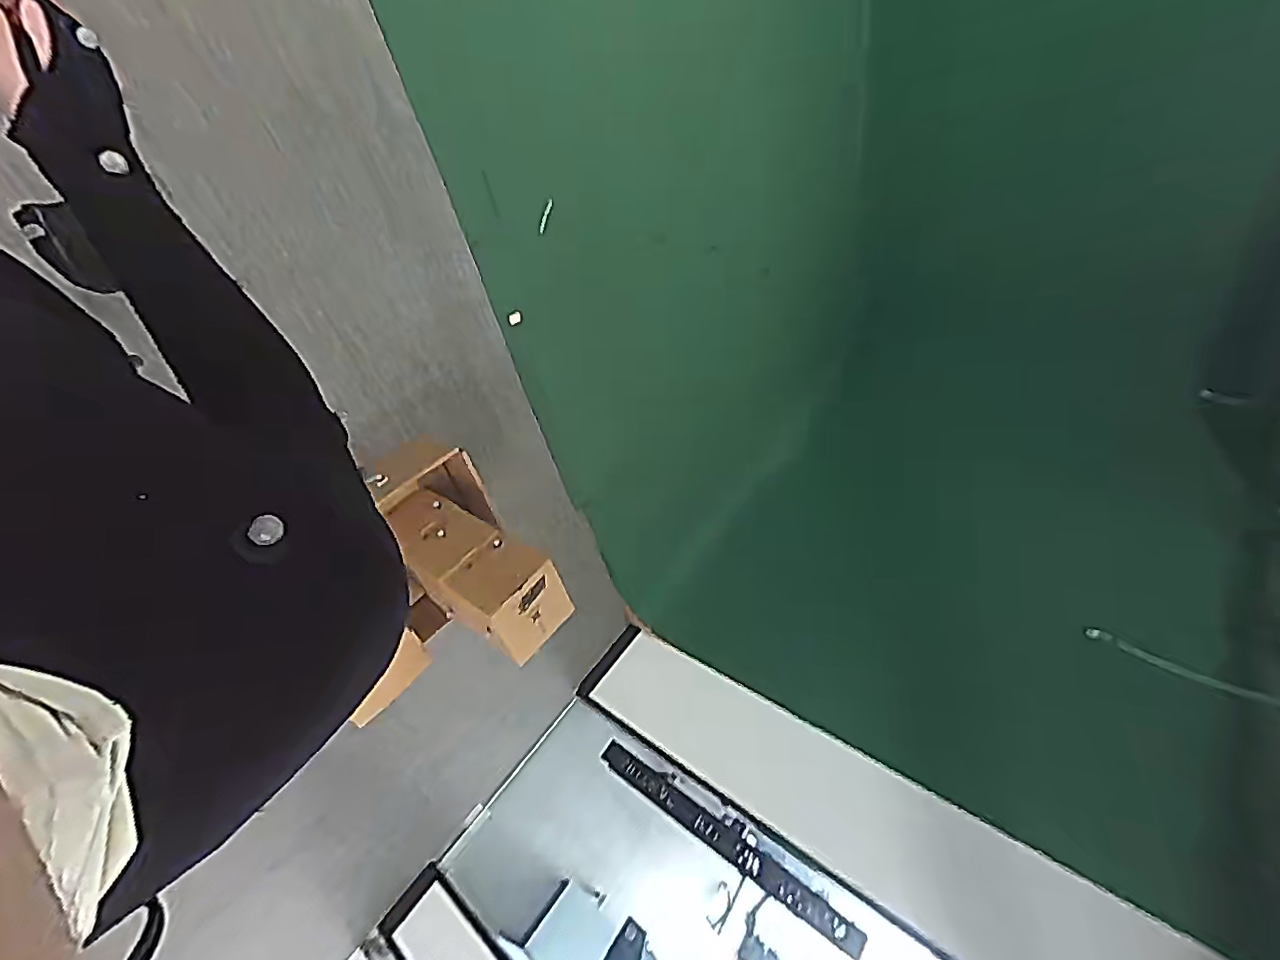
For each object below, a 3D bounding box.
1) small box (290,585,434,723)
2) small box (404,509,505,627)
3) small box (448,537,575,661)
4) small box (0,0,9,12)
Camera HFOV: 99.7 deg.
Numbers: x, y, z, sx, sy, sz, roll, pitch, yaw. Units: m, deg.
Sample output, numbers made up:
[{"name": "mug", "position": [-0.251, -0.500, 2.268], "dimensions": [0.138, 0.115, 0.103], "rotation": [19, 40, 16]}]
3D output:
[{"name": "small box", "position": [-0.565, 0.345, 1.105], "dimensions": [0.179, 0.176, 0.168], "rotation": [-41, 134, -32]}, {"name": "small box", "position": [-0.401, 0.194, 1.240], "dimensions": [0.168, 0.176, 0.179], "rotation": [-44, 136, -32]}, {"name": "small box", "position": [-0.273, 0.242, 1.149], "dimensions": [0.168, 0.176, 0.179], "rotation": [-44, 137, -30]}, {"name": "small box", "position": [-0.512, -0.419, 0.319], "dimensions": [0.179, 0.176, 0.168], "rotation": [-2, 112, -51]}]
